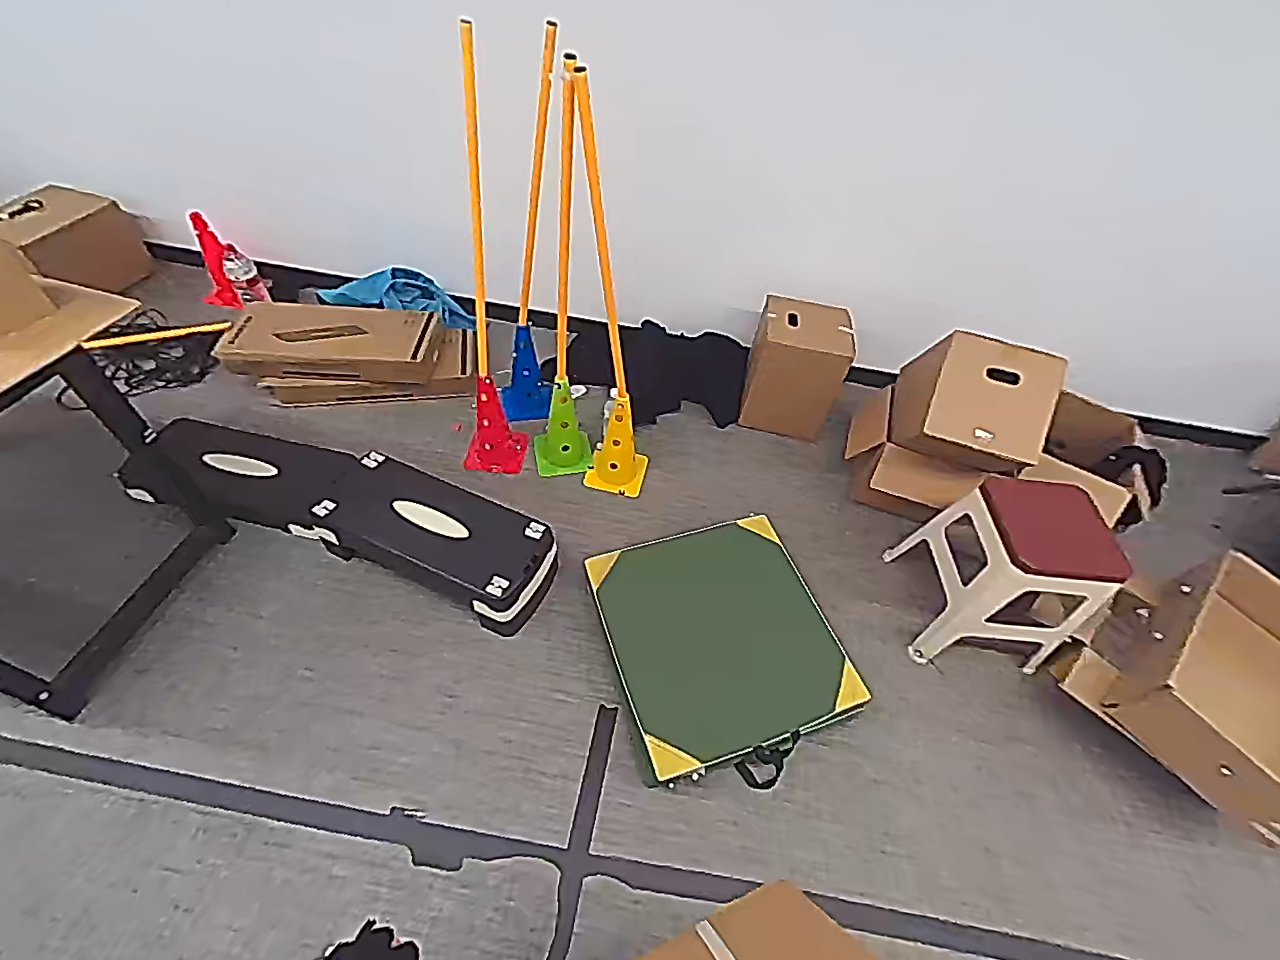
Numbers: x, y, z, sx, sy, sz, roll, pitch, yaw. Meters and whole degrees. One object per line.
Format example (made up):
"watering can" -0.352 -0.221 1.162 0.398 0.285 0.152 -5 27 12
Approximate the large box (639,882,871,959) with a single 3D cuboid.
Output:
"large box" 0.196 0.792 0.632 0.320 0.408 0.320 -15 84 -20
